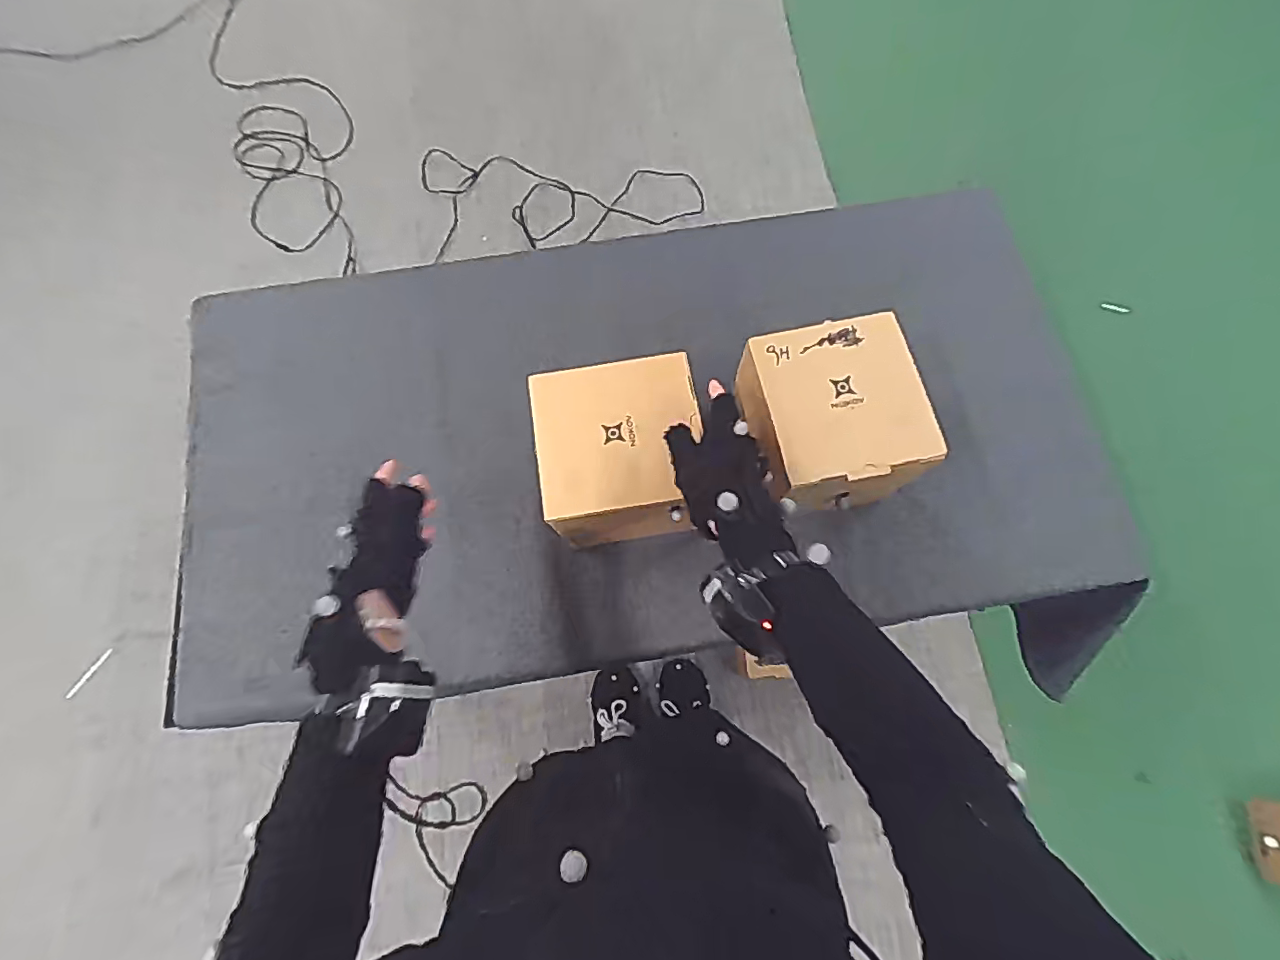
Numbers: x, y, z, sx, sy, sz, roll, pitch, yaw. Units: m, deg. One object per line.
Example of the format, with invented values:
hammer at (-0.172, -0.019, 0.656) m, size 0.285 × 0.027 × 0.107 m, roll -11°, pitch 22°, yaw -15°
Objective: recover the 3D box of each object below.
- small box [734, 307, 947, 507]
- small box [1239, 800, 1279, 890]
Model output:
small box at (0.218, -0.072, 0.639) m, size 0.168 × 0.176 × 0.179 m, roll -10°, pitch 74°, yaw -2°
small box at (1.432, 0.780, 1.122) m, size 0.179 × 0.176 × 0.168 m, roll 2°, pitch 73°, yaw 3°
